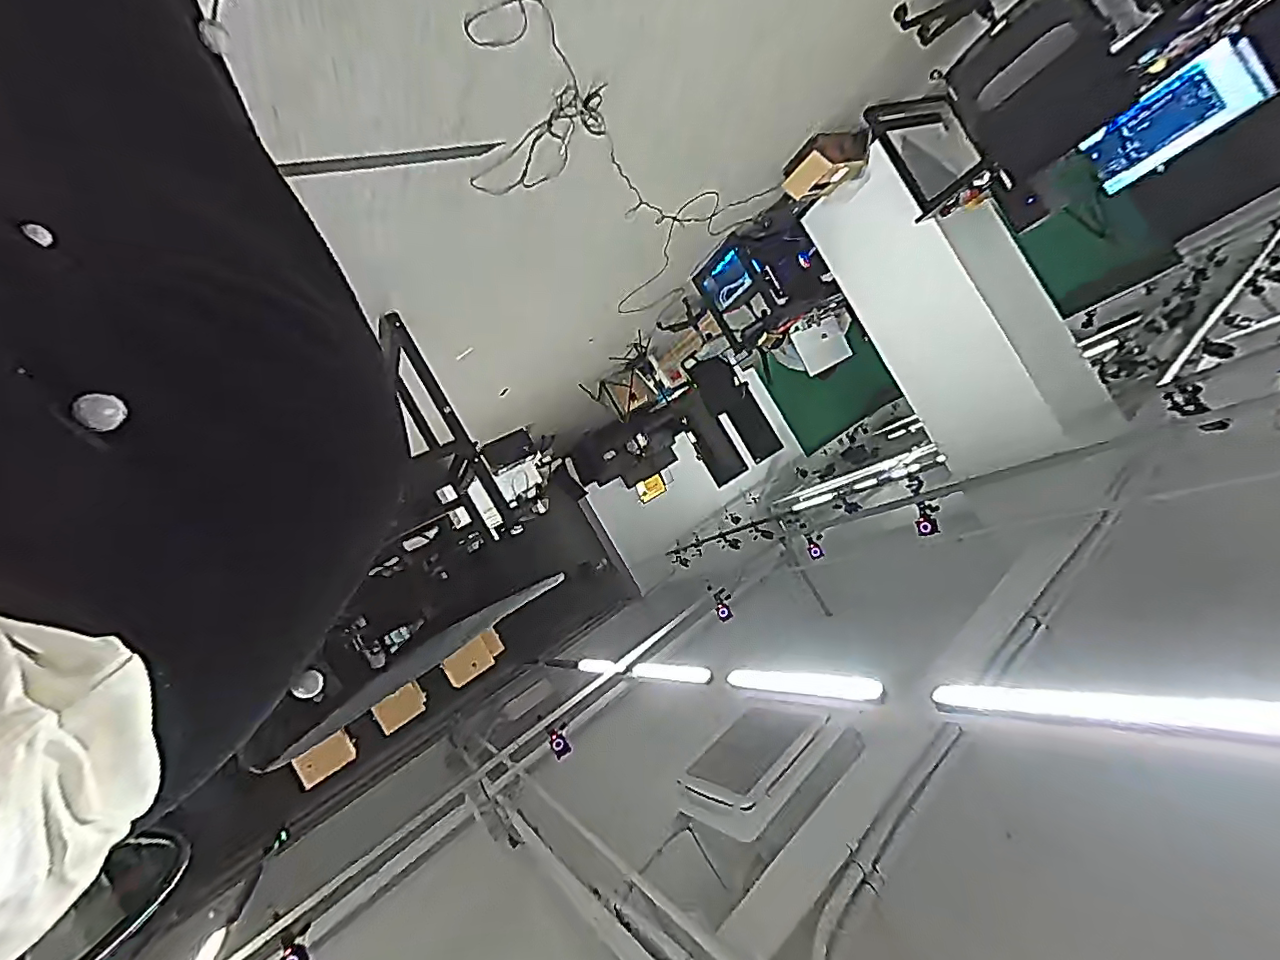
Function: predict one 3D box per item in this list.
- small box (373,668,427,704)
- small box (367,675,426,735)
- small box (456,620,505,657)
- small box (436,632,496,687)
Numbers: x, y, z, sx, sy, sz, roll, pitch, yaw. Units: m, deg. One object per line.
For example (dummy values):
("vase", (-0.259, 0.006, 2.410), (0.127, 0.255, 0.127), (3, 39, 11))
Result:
("small box", (-1.096, 0.980, 2.460), (0.179, 0.176, 0.168), (-29, 179, -30))
("small box", (-1.013, 0.925, 2.241), (0.168, 0.176, 0.179), (-31, 180, -32))
("small box", (-0.785, 0.802, 2.655), (0.168, 0.176, 0.179), (-30, 179, -26))
("small box", (-0.766, 0.783, 2.374), (0.179, 0.176, 0.168), (-29, 178, -32))
